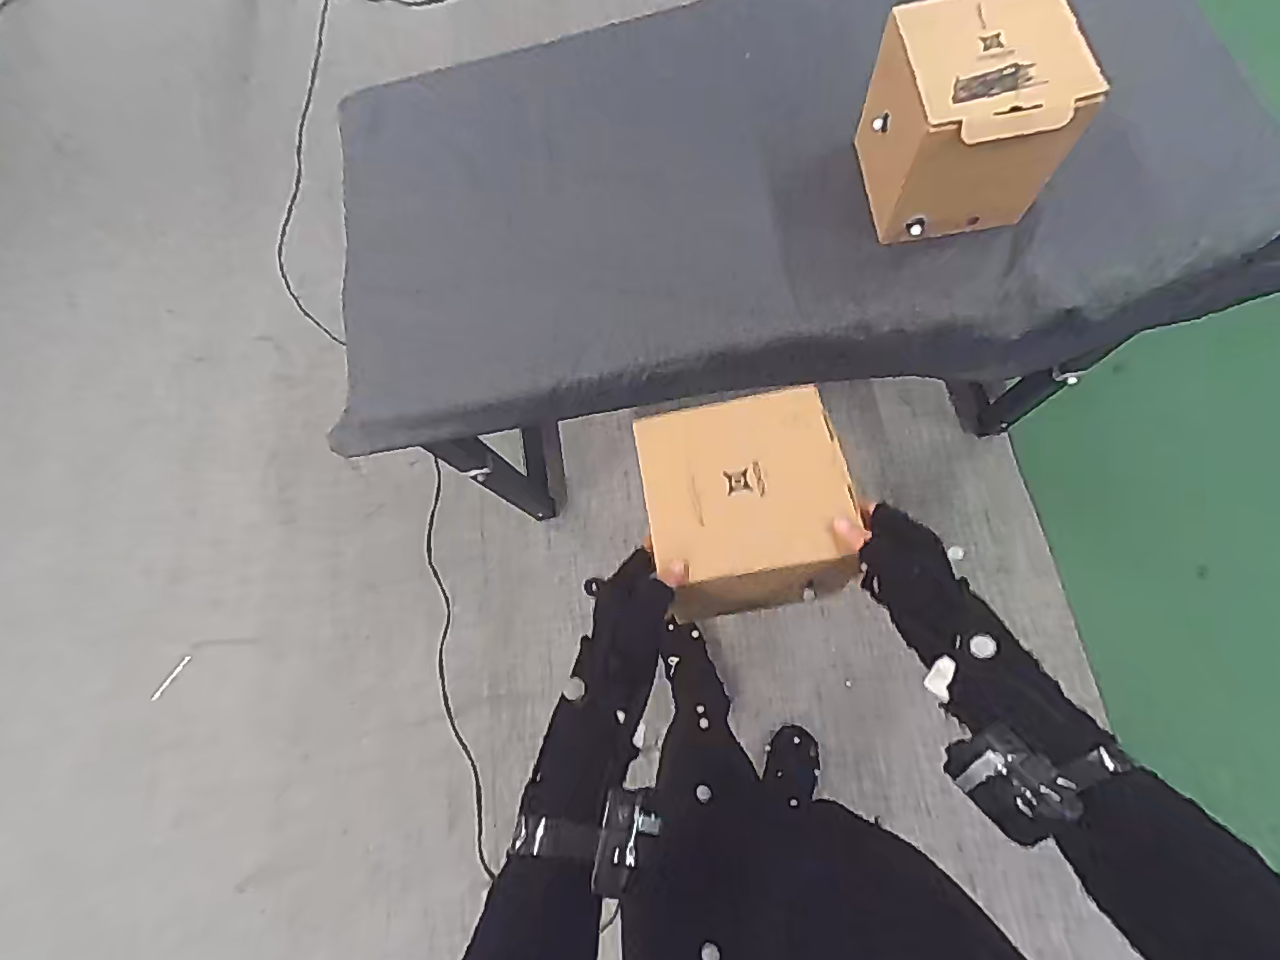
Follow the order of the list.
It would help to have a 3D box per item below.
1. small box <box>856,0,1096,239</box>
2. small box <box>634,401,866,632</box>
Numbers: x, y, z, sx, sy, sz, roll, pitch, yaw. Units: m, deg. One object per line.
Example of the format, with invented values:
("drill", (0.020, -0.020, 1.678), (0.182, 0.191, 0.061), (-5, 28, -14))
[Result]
("small box", (0.366, -0.406, 0.629), (0.168, 0.176, 0.179), (-7, 72, 7))
("small box", (0.103, 0.047, 0.552), (0.179, 0.176, 0.168), (-13, 63, 6))
